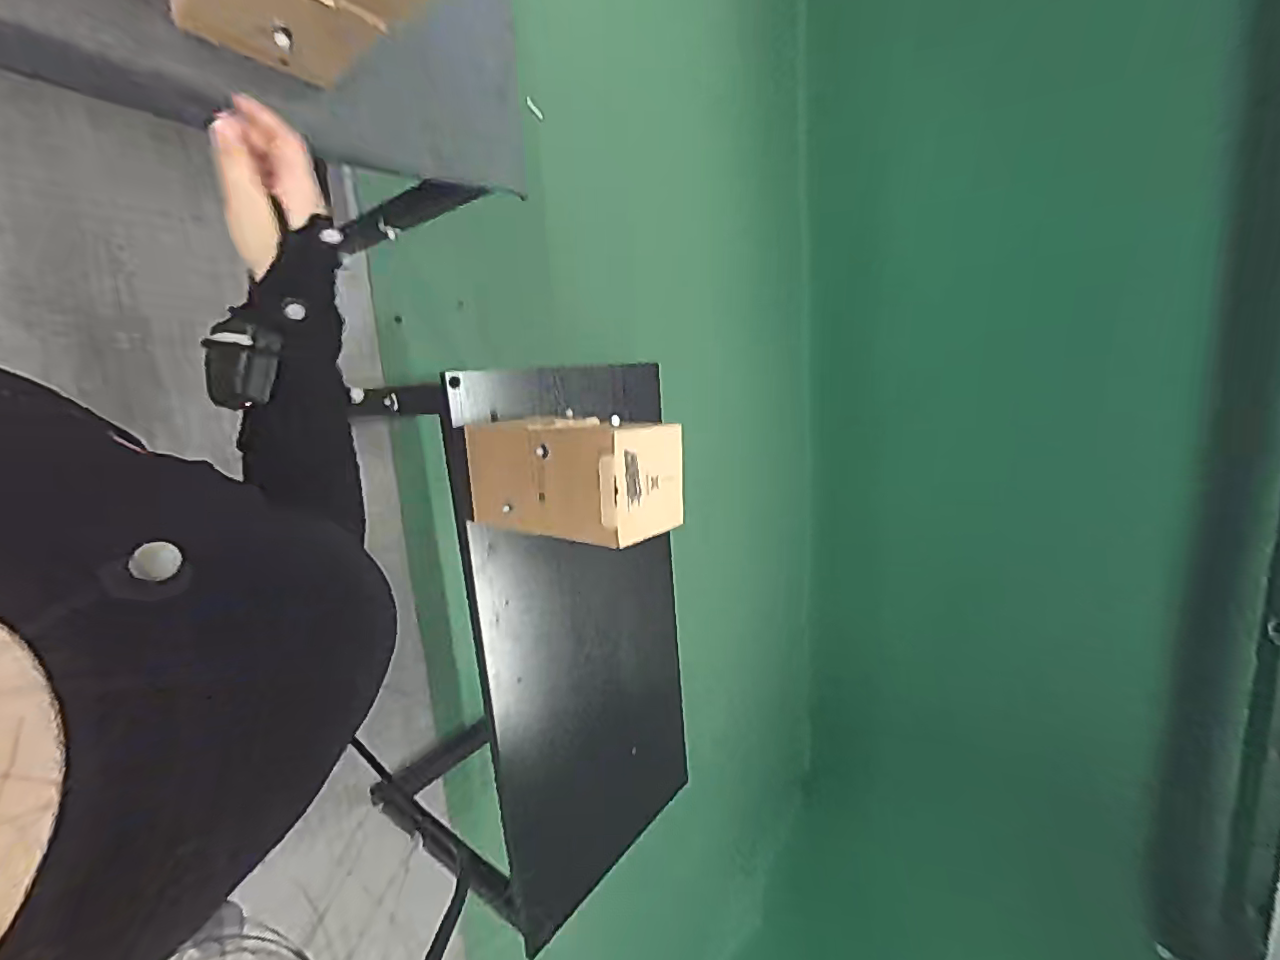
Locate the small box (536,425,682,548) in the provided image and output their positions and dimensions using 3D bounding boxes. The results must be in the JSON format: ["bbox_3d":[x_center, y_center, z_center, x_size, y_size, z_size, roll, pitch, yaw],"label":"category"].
[{"bbox_3d":[-0.051,0.000,0.851,0.179,0.176,0.168,-12,105,-51],"label":"small box"}]

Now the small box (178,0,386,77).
[{"bbox_3d":[-0.408,-0.599,0.600,0.168,0.176,0.179,-11,101,-50],"label":"small box"}]
